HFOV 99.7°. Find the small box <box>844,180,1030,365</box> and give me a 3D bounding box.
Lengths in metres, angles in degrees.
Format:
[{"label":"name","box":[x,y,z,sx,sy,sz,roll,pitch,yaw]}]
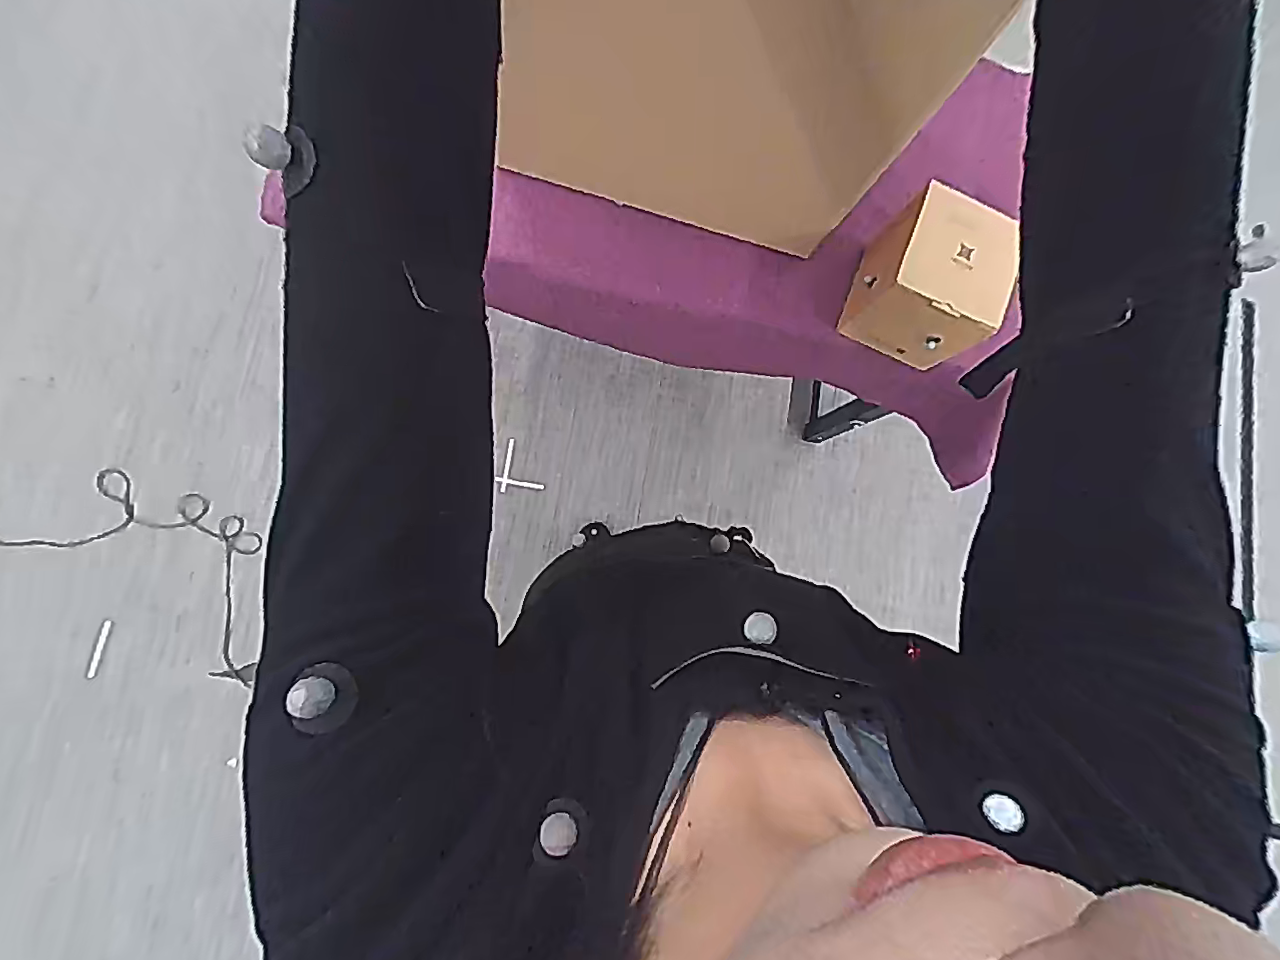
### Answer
[{"label":"small box","box":[0.442,-0.303,0.830,0.168,0.176,0.179,23,79,-5]}]
